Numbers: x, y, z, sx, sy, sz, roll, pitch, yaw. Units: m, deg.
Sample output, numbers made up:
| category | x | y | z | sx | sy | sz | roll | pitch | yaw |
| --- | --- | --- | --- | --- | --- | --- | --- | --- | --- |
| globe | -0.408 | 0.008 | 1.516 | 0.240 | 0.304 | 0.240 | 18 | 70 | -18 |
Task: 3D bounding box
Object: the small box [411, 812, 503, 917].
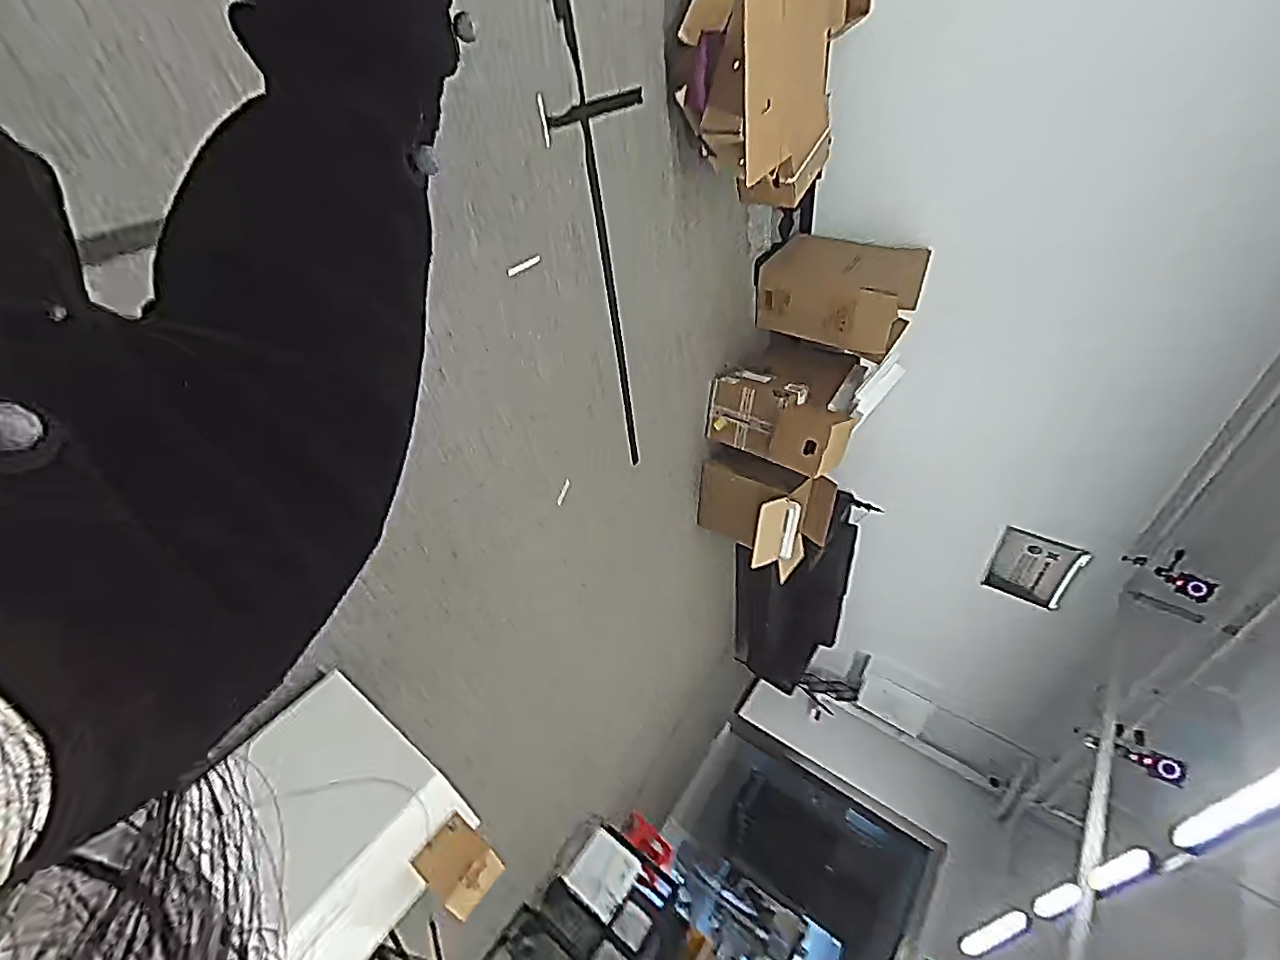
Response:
| category | x | y | z | sx | sy | sz | roll | pitch | yaw |
| --- | --- | --- | --- | --- | --- | --- | --- | --- | --- |
| small box | -0.536 | 1.117 | 1.581 | 0.168 | 0.176 | 0.179 | -42 | 142 | -36 |
